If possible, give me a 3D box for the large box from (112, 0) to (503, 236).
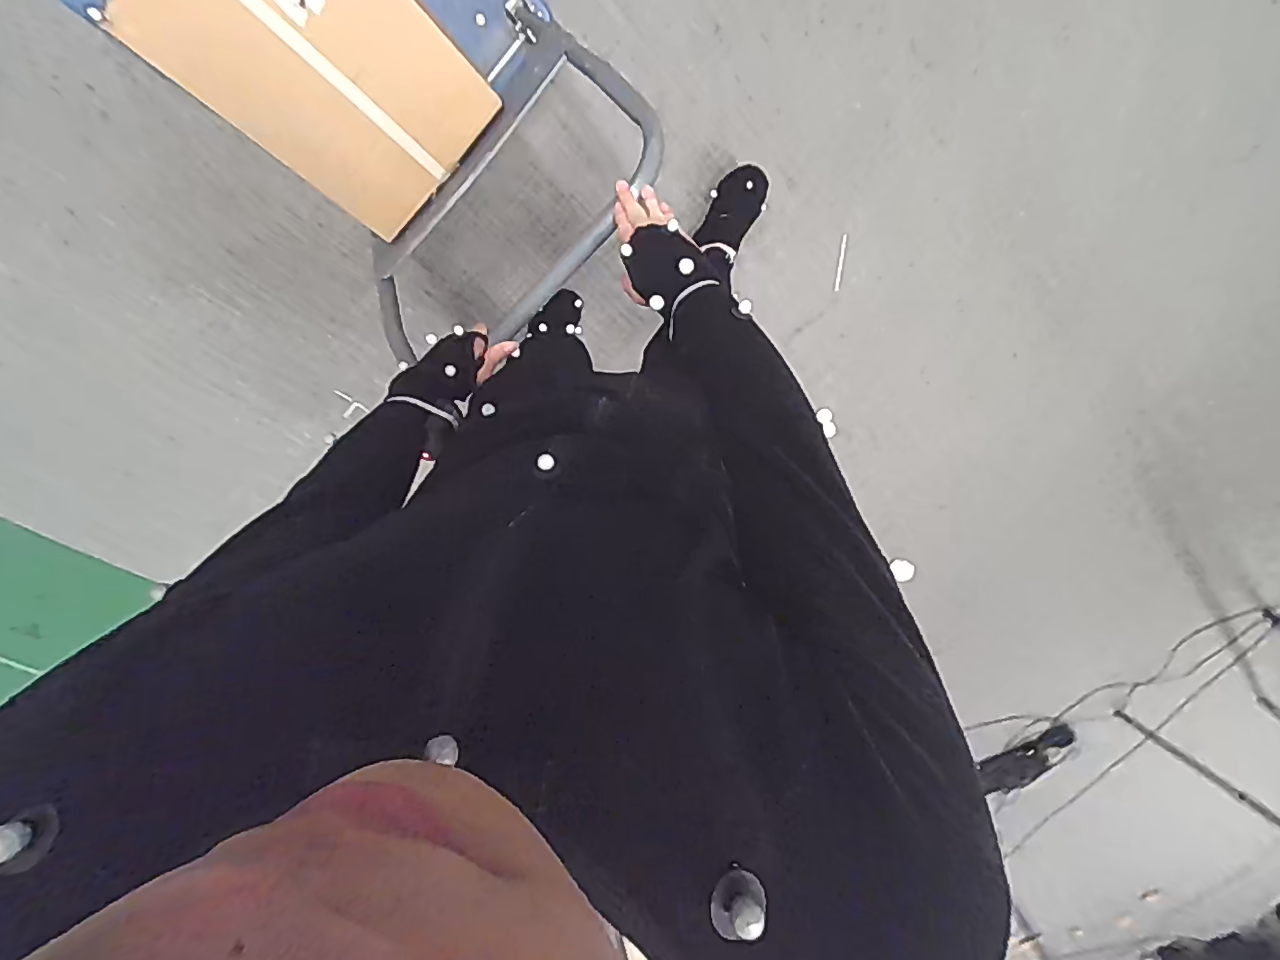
[{"bbox_3d":[-0.495,-0.701,0.882,0.320,0.320,0.408,-41,136,17],"label":"large box"}]
